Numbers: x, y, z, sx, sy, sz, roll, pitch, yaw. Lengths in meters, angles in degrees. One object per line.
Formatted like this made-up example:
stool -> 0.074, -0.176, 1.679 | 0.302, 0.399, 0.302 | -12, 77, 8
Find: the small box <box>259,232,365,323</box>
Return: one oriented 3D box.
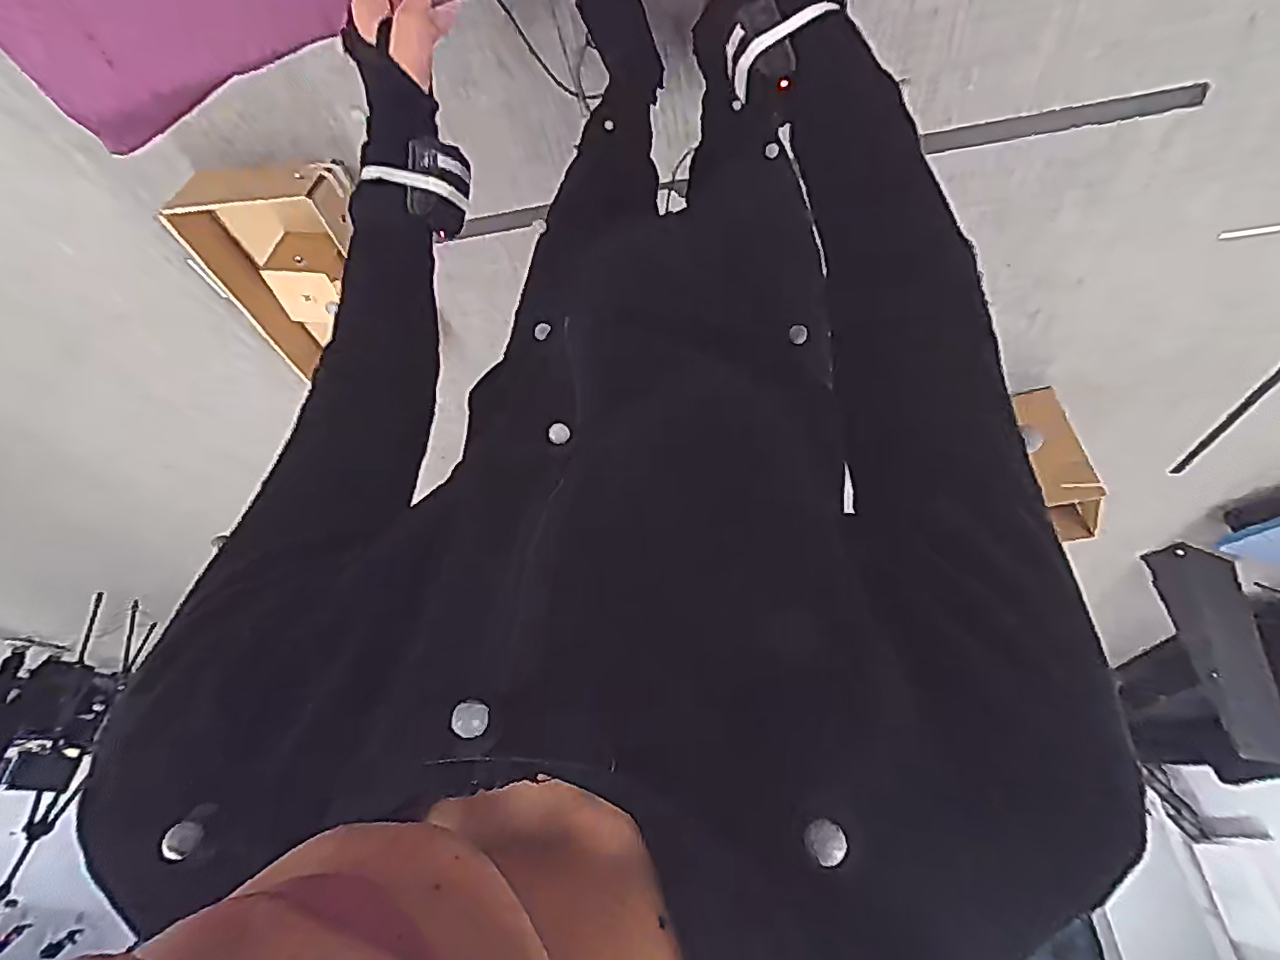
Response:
small box -> -0.874, -0.550, 1.467 | 0.179, 0.176, 0.168 | 2, 147, 0
